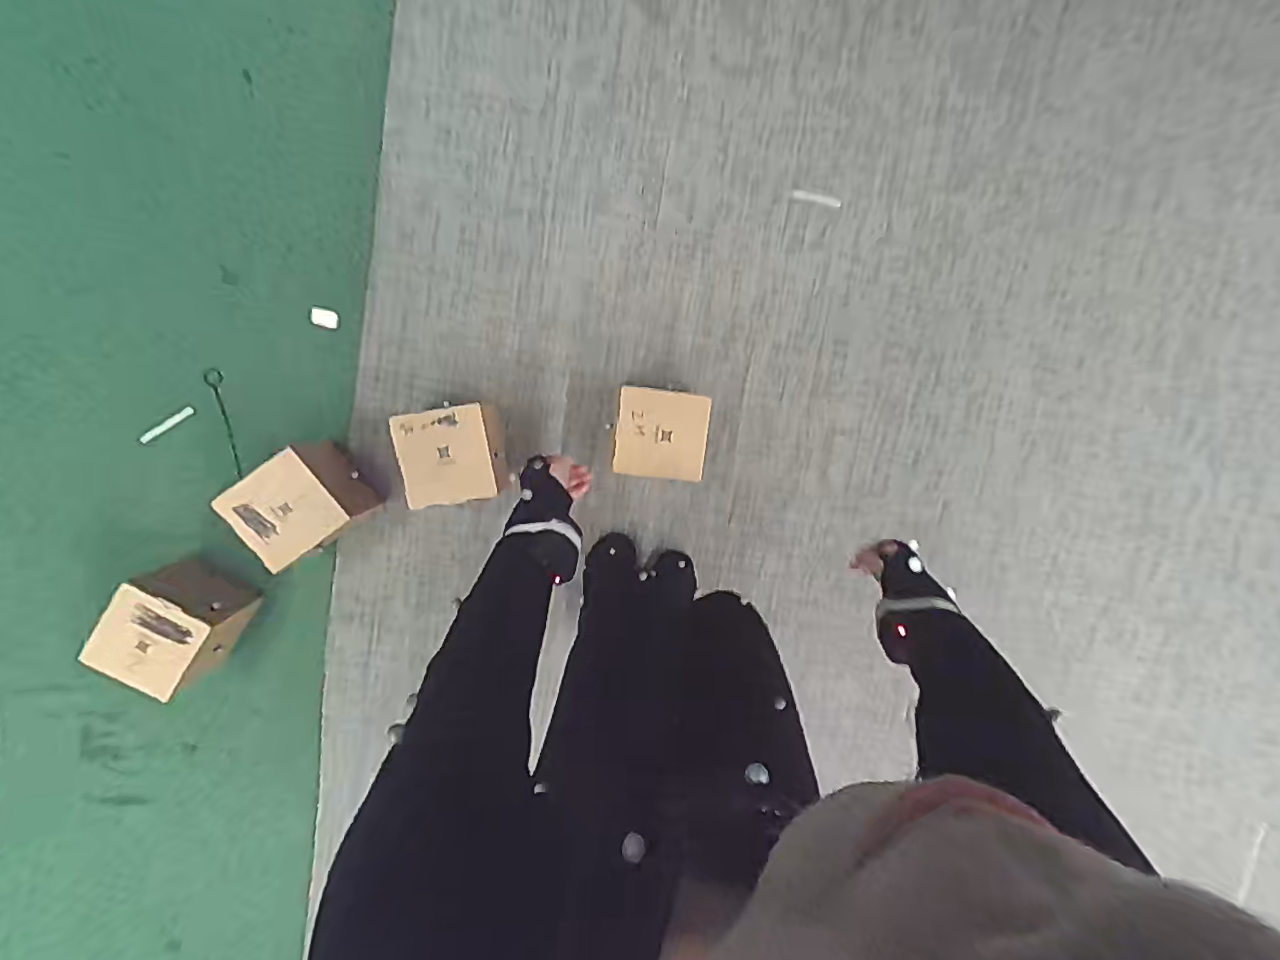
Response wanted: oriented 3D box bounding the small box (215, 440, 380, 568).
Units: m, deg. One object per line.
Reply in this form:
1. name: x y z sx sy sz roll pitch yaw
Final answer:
1. small box: -0.646 0.038 1.047 0.179 0.176 0.168 -36 100 -1

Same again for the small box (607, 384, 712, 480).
1. small box: 0.032 -0.101 1.095 0.179 0.176 0.168 6 97 -7

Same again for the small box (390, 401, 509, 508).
1. small box: -0.363 -0.058 1.063 0.168 0.176 0.179 -10 99 -4
